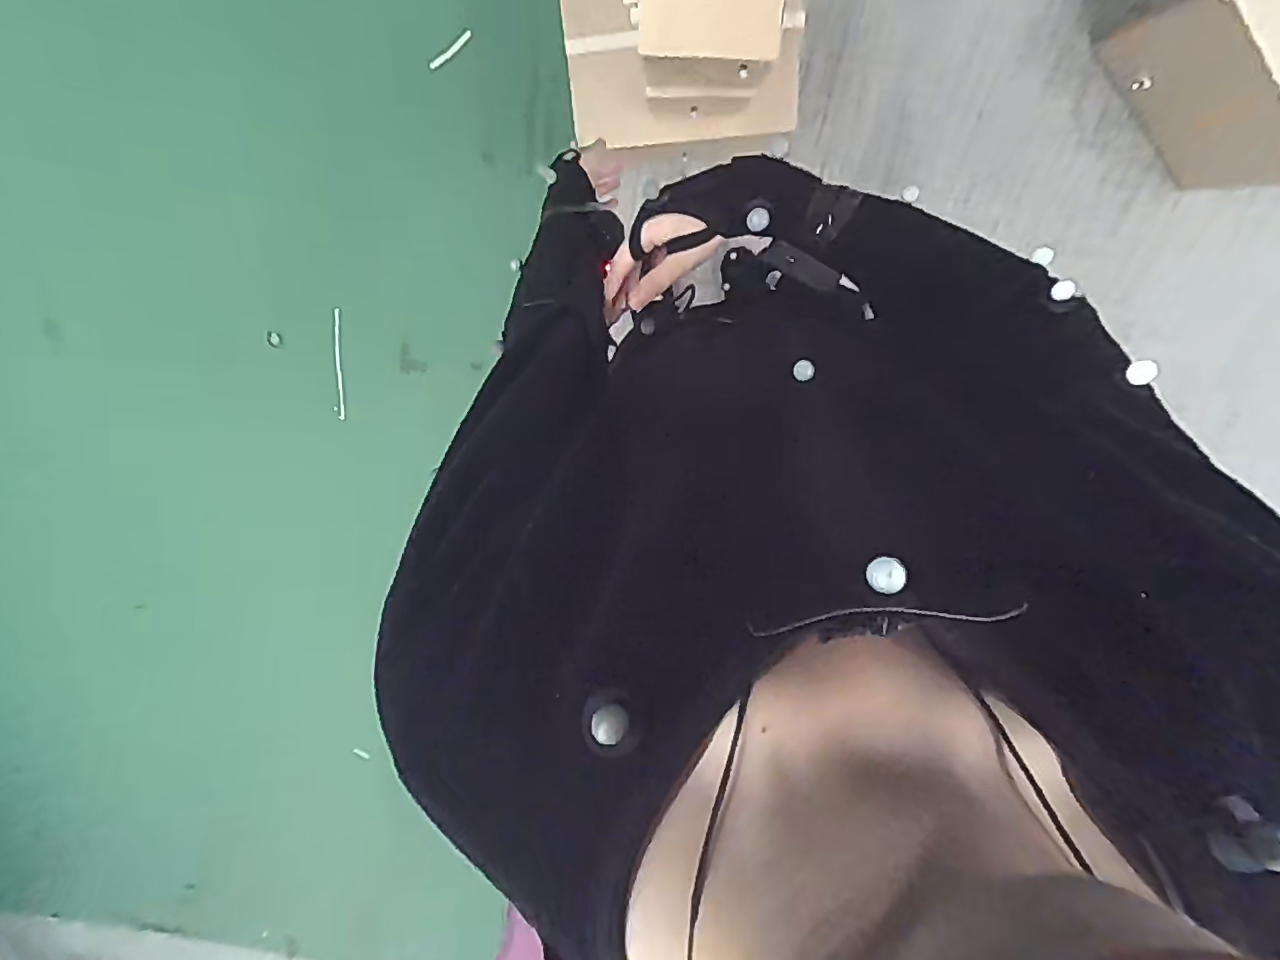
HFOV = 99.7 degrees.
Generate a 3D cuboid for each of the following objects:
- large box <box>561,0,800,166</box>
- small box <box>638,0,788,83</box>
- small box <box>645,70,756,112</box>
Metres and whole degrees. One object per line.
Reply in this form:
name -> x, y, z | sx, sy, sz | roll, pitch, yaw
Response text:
large box -> 0.082, -0.818, 1.050 | 0.408, 0.320, 0.320 | -2, 114, 6
small box -> 0.092, -0.625, 0.688 | 0.179, 0.176, 0.168 | 3, 115, 1
small box -> 0.096, -0.688, 0.838 | 0.168, 0.176, 0.179 | 2, 115, 2
